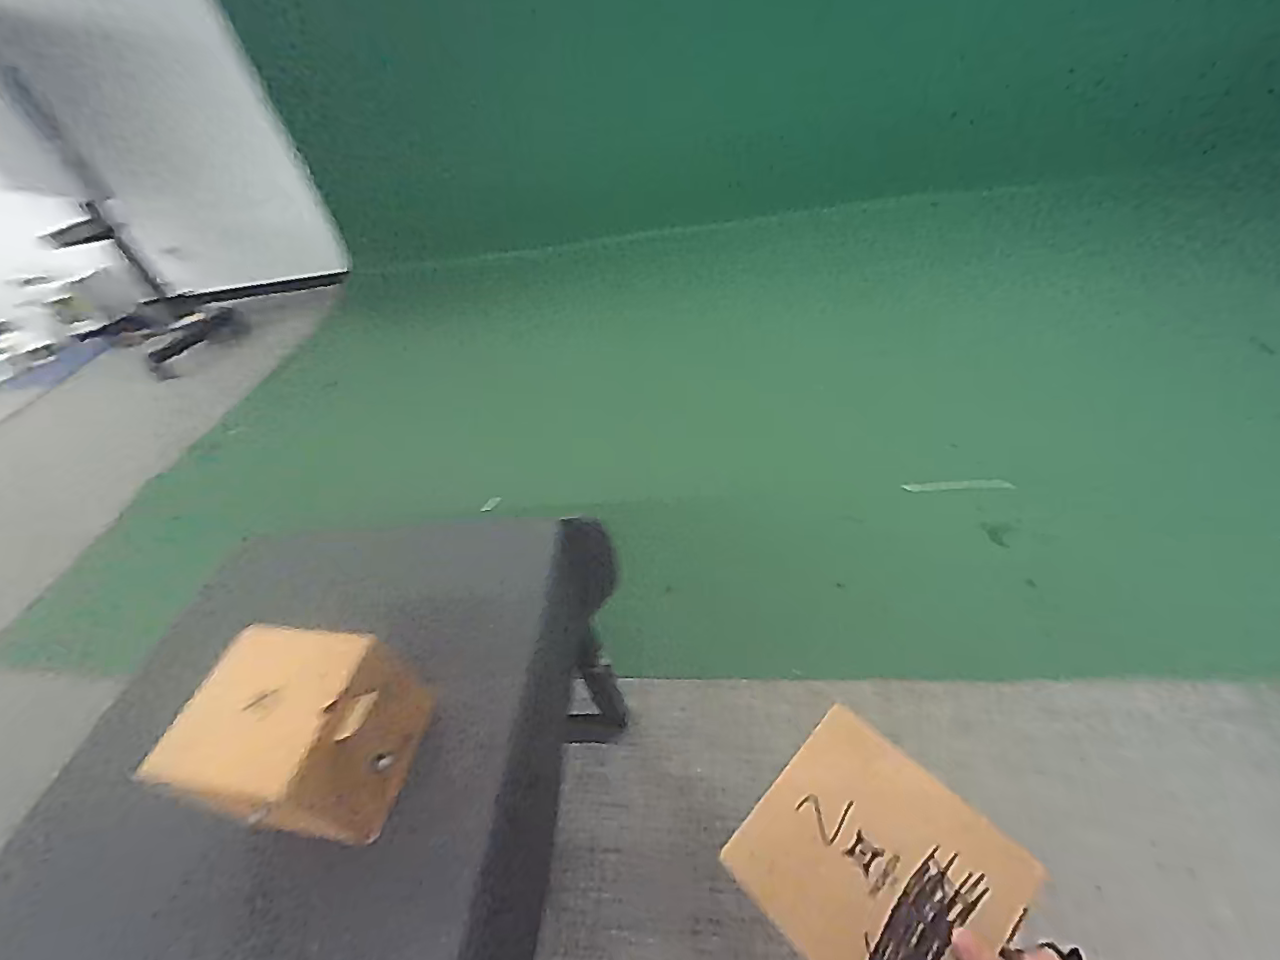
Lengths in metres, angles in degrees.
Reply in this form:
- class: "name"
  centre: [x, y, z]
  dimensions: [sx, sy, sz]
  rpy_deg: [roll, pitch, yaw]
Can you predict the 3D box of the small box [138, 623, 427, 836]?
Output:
- class: "small box"
  centre: [-0.383, 0.283, 0.617]
  dimensions: [0.179, 0.176, 0.168]
  rpy_deg: [0, 45, 13]
